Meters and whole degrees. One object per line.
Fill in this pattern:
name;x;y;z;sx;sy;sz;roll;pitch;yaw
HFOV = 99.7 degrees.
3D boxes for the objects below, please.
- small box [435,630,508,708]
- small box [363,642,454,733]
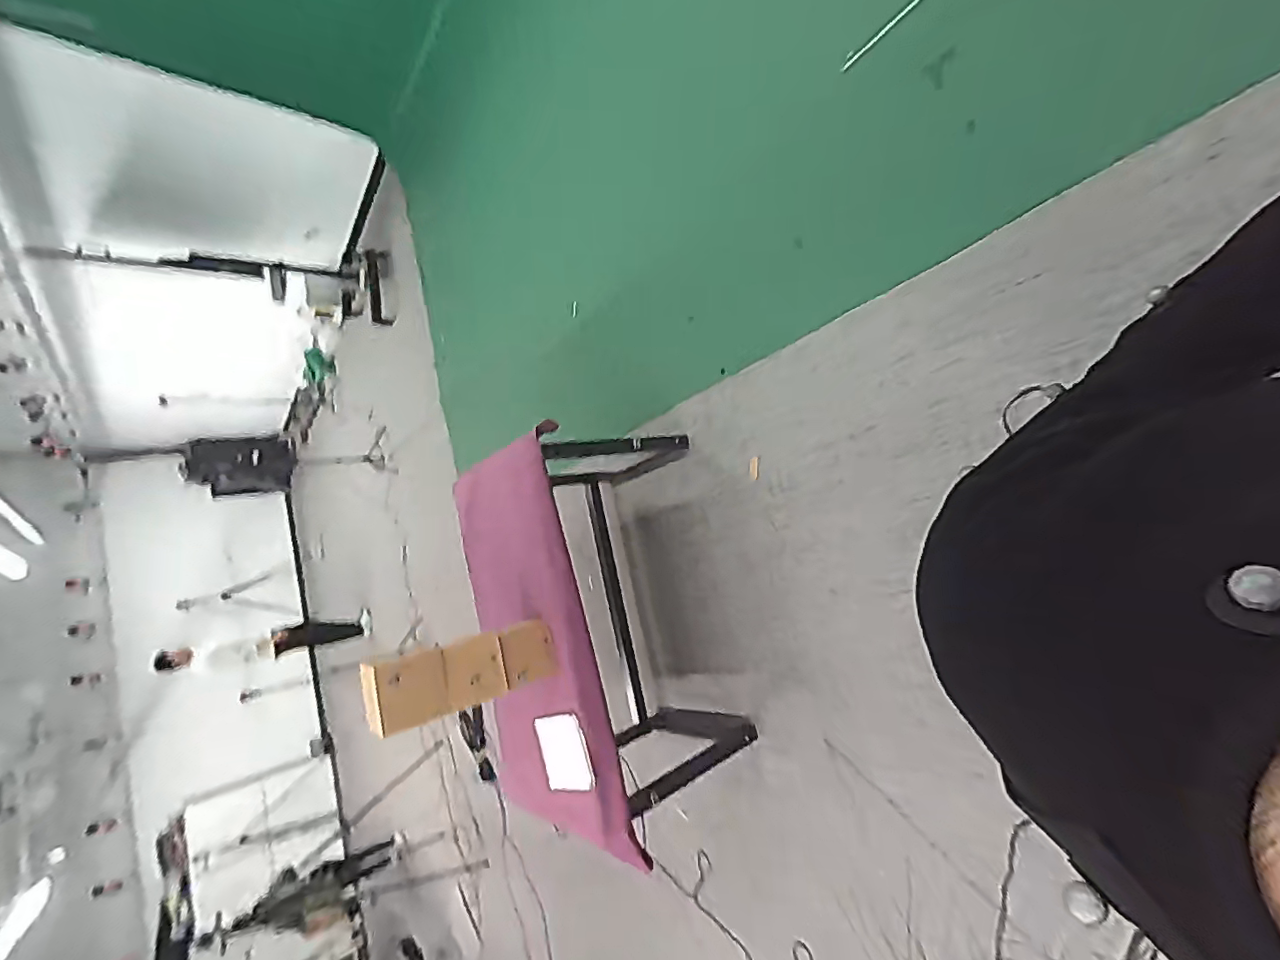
small box;-0.488;0.529;1.537;0.179;0.176;0.168;-21;80;50
small box;-0.611;0.537;1.428;0.168;0.176;0.179;-17;83;51
